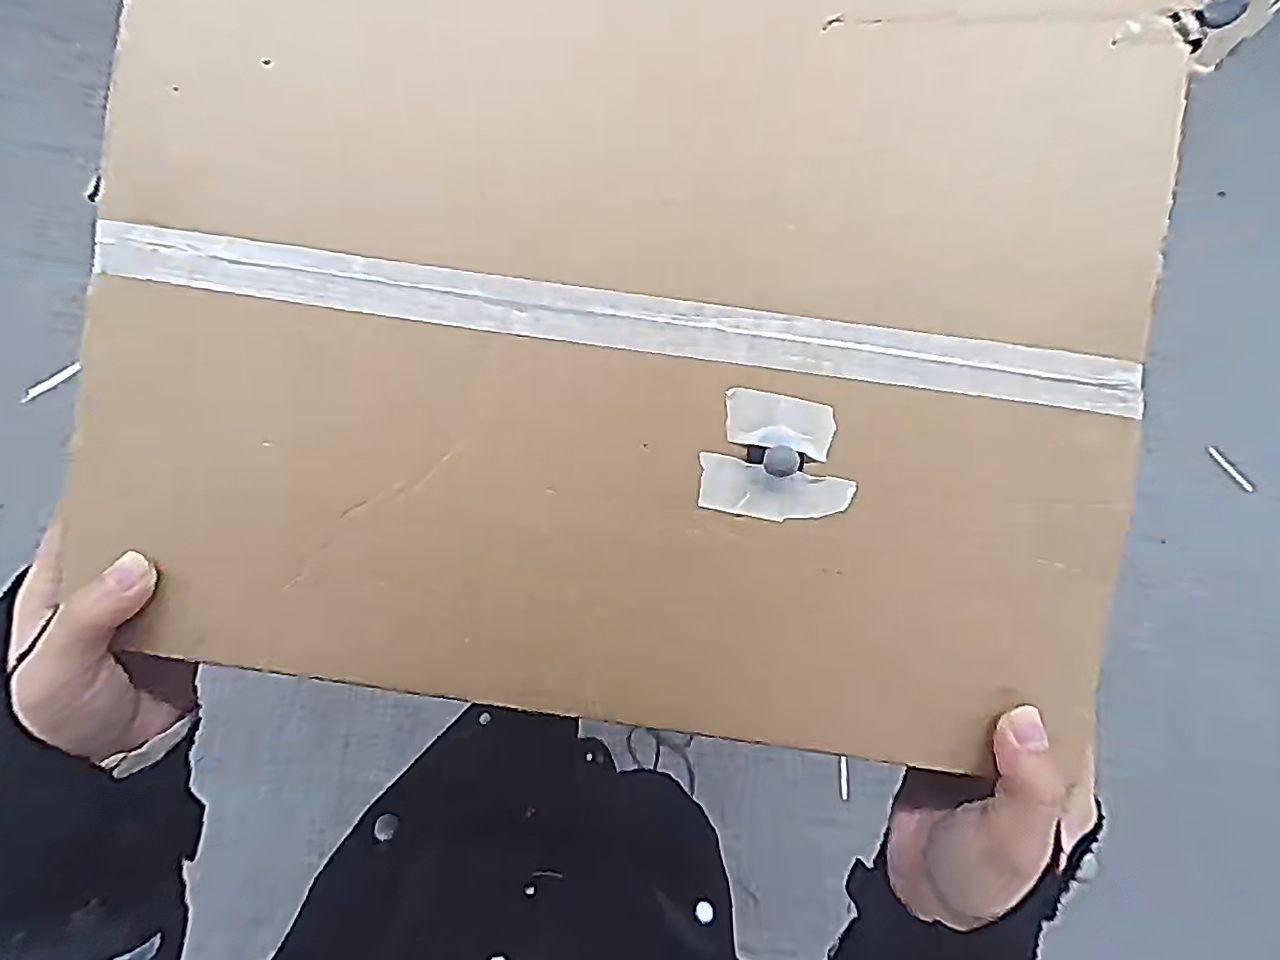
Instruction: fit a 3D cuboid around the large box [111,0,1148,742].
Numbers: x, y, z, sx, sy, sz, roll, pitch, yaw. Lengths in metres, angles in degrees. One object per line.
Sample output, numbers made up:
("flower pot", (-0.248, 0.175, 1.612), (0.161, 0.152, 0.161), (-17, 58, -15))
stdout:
("large box", (-0.005, -0.065, 0.372), (0.408, 0.320, 0.320), (8, 91, 0))
